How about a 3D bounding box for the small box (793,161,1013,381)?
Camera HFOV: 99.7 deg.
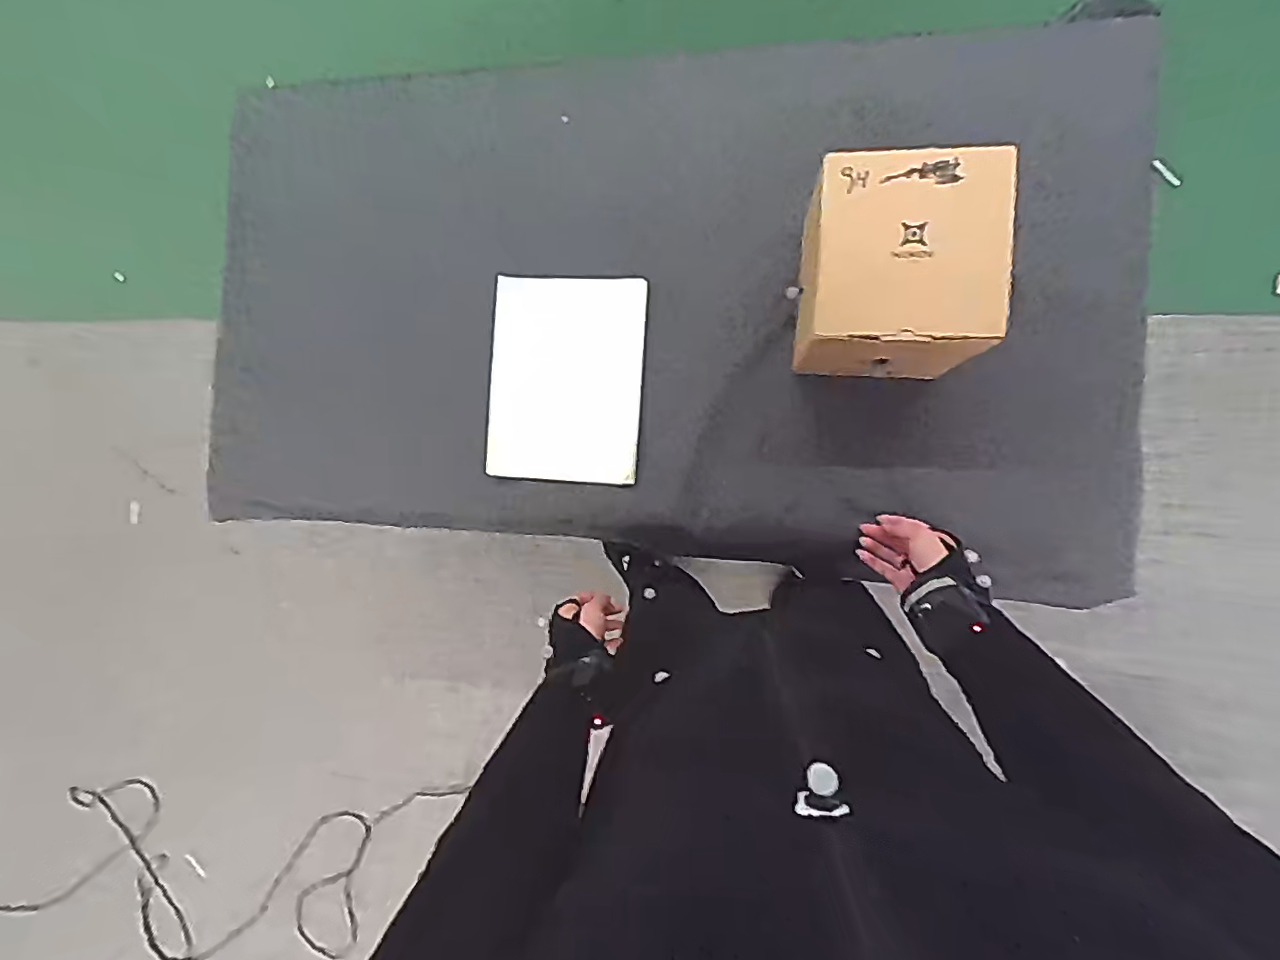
[{"bbox_3d":[0.260,-0.205,0.576,0.168,0.176,0.179,4,91,9],"label":"small box"}]
